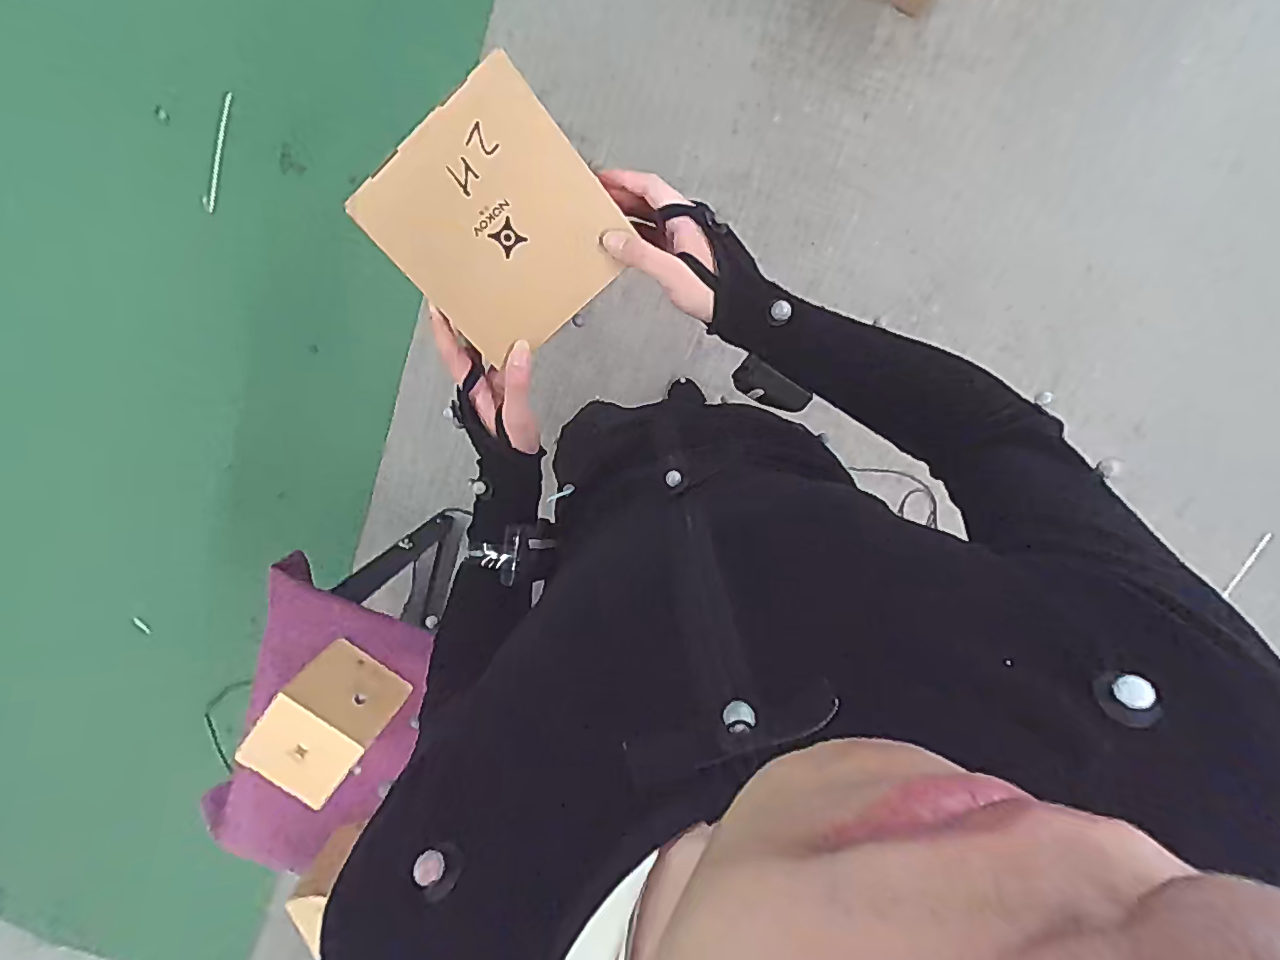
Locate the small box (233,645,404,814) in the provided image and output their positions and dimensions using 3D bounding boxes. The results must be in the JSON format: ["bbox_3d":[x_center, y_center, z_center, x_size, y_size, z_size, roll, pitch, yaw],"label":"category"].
[{"bbox_3d":[-0.551,0.430,0.956,0.168,0.176,0.179,38,106,-7],"label":"small box"}]

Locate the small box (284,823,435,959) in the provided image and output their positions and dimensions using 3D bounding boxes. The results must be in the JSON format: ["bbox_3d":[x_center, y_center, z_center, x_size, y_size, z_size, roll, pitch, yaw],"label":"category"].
[{"bbox_3d":[-0.530,0.802,1.048,0.168,0.176,0.179,-15,102,8],"label":"small box"}]
